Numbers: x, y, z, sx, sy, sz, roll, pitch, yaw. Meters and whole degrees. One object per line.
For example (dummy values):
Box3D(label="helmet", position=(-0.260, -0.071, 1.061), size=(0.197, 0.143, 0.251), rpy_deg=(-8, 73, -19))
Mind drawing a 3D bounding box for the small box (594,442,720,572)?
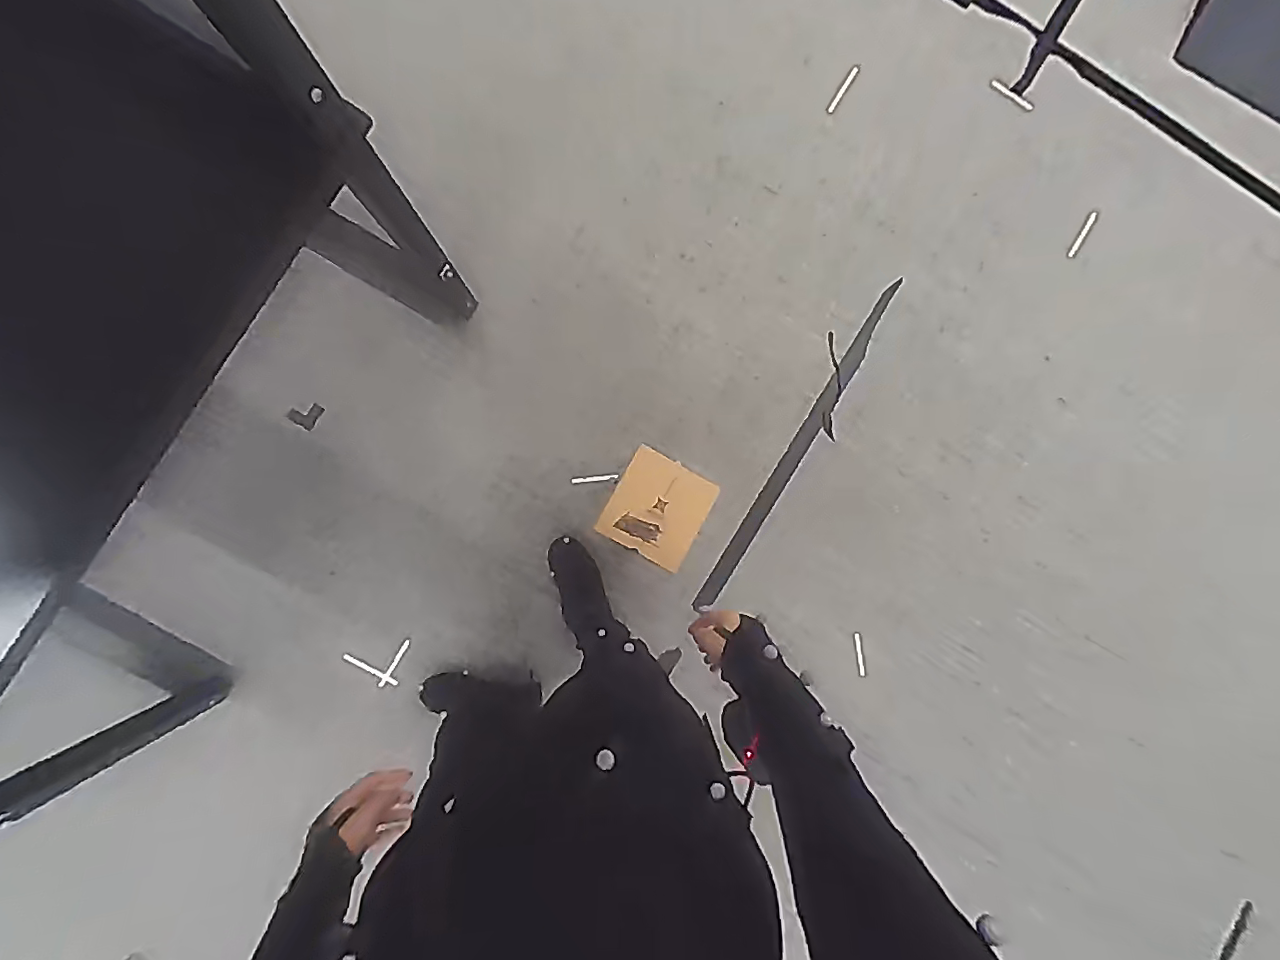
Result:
Box3D(label="small box", position=(0.026, 0.048, 1.022), size=(0.168, 0.176, 0.179), rpy_deg=(30, 87, -4))
